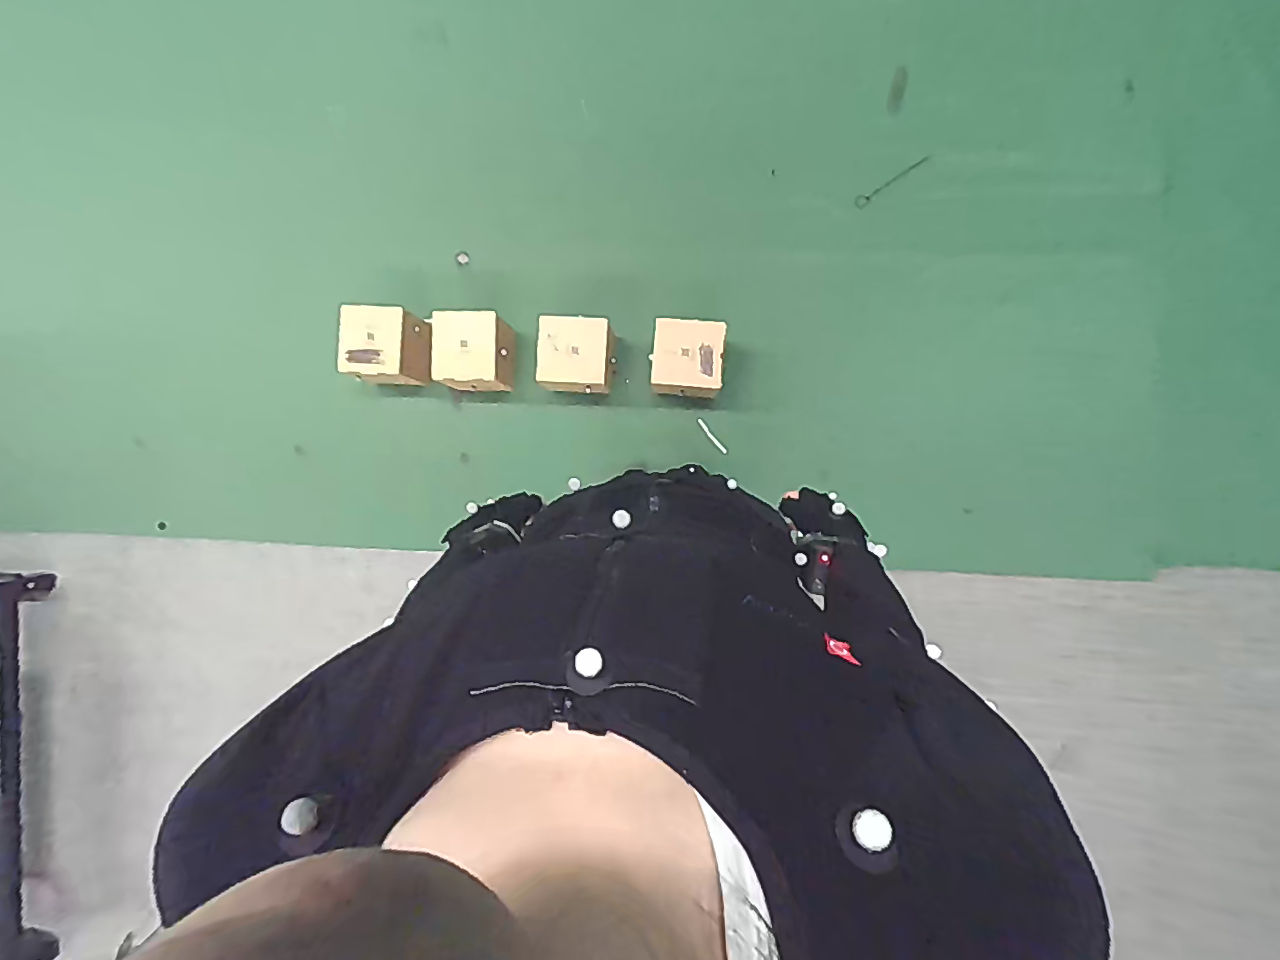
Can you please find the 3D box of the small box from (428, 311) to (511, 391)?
[{"bbox_3d":[-0.448,-0.339,1.441,0.168,0.176,0.179,1,92,3],"label":"small box"}]

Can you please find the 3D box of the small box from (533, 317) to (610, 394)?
[{"bbox_3d":[-0.174,-0.322,1.424,0.179,0.176,0.168,4,91,3],"label":"small box"}]

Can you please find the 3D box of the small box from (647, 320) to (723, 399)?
[{"bbox_3d":[0.115,-0.309,1.411,0.179,0.176,0.168,5,91,4],"label":"small box"}]
